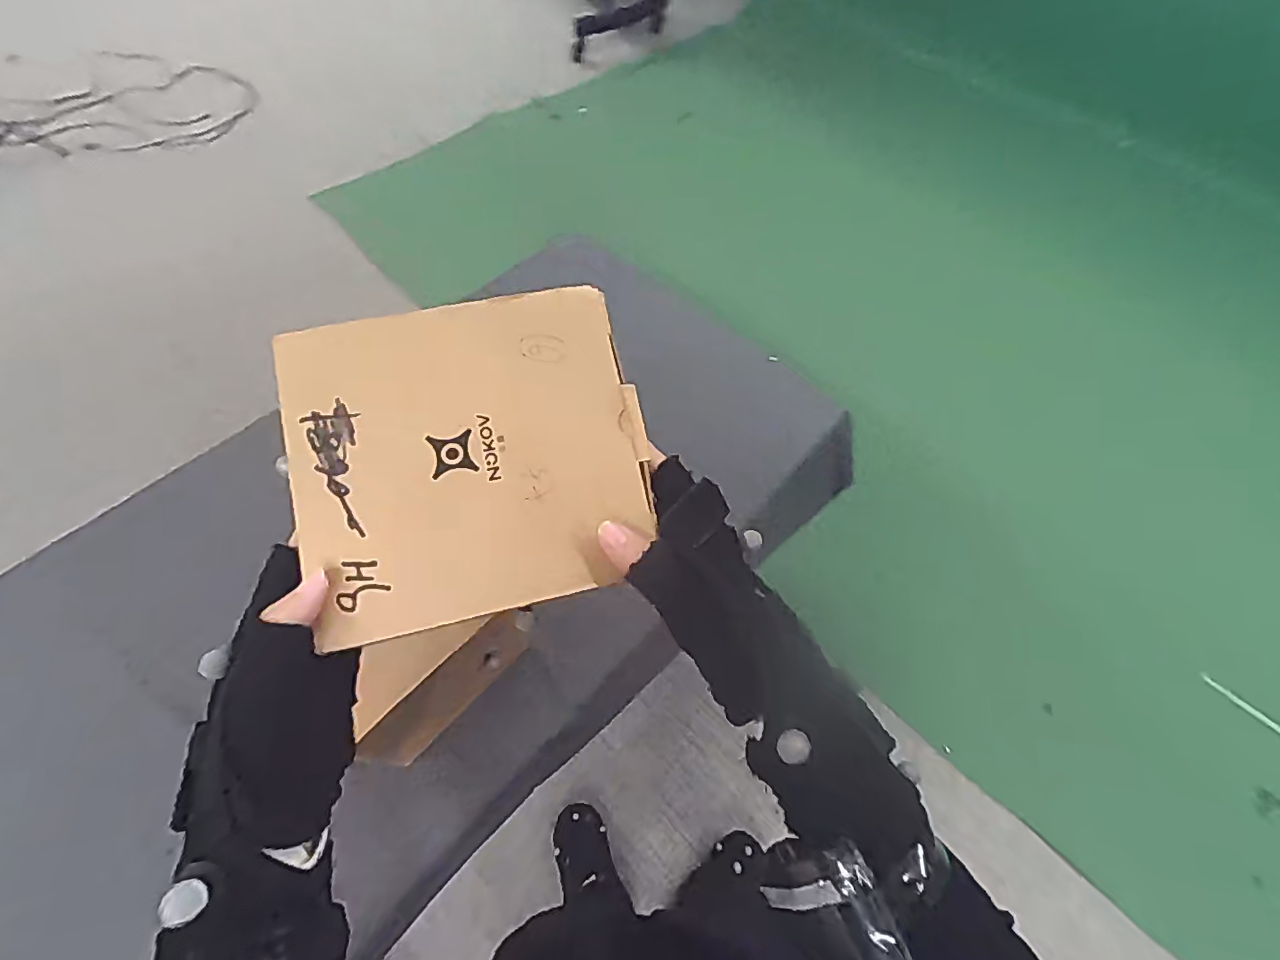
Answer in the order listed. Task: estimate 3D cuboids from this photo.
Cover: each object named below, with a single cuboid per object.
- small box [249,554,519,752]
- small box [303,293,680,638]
[{"bbox_3d":[-0.245,0.156,0.569,0.168,0.176,0.179,38,66,18],"label":"small box"},{"bbox_3d":[-0.089,0.000,0.361,0.179,0.176,0.168,-10,79,-10],"label":"small box"}]
